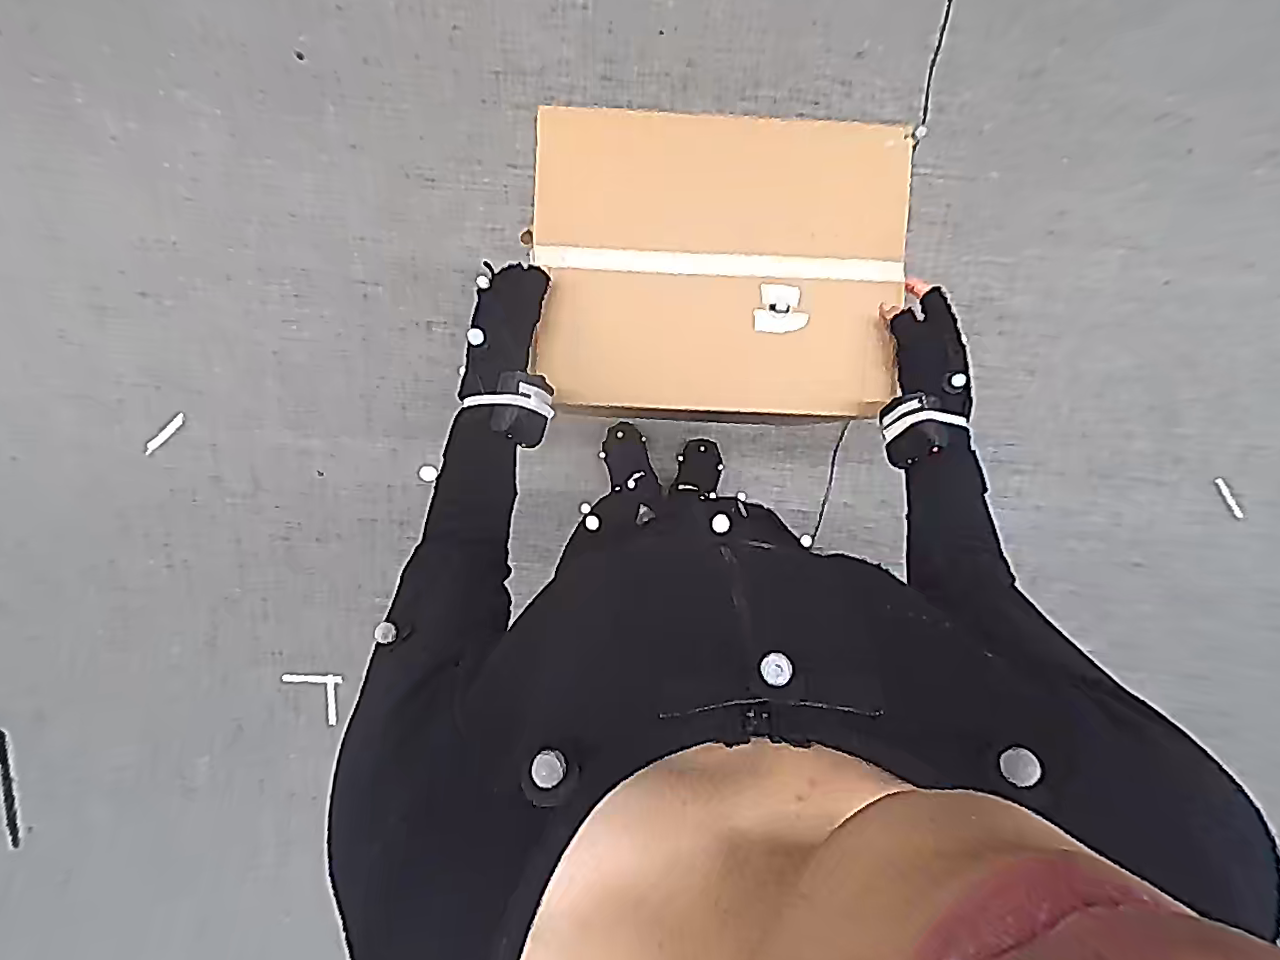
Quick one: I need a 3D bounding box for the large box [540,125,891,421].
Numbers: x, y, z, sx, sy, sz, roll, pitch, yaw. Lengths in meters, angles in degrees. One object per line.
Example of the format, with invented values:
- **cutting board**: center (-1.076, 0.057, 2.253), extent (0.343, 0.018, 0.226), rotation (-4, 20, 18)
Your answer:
- **large box**: center (0.079, -0.248, 0.765), extent (0.408, 0.320, 0.320), rotation (2, 94, -2)
